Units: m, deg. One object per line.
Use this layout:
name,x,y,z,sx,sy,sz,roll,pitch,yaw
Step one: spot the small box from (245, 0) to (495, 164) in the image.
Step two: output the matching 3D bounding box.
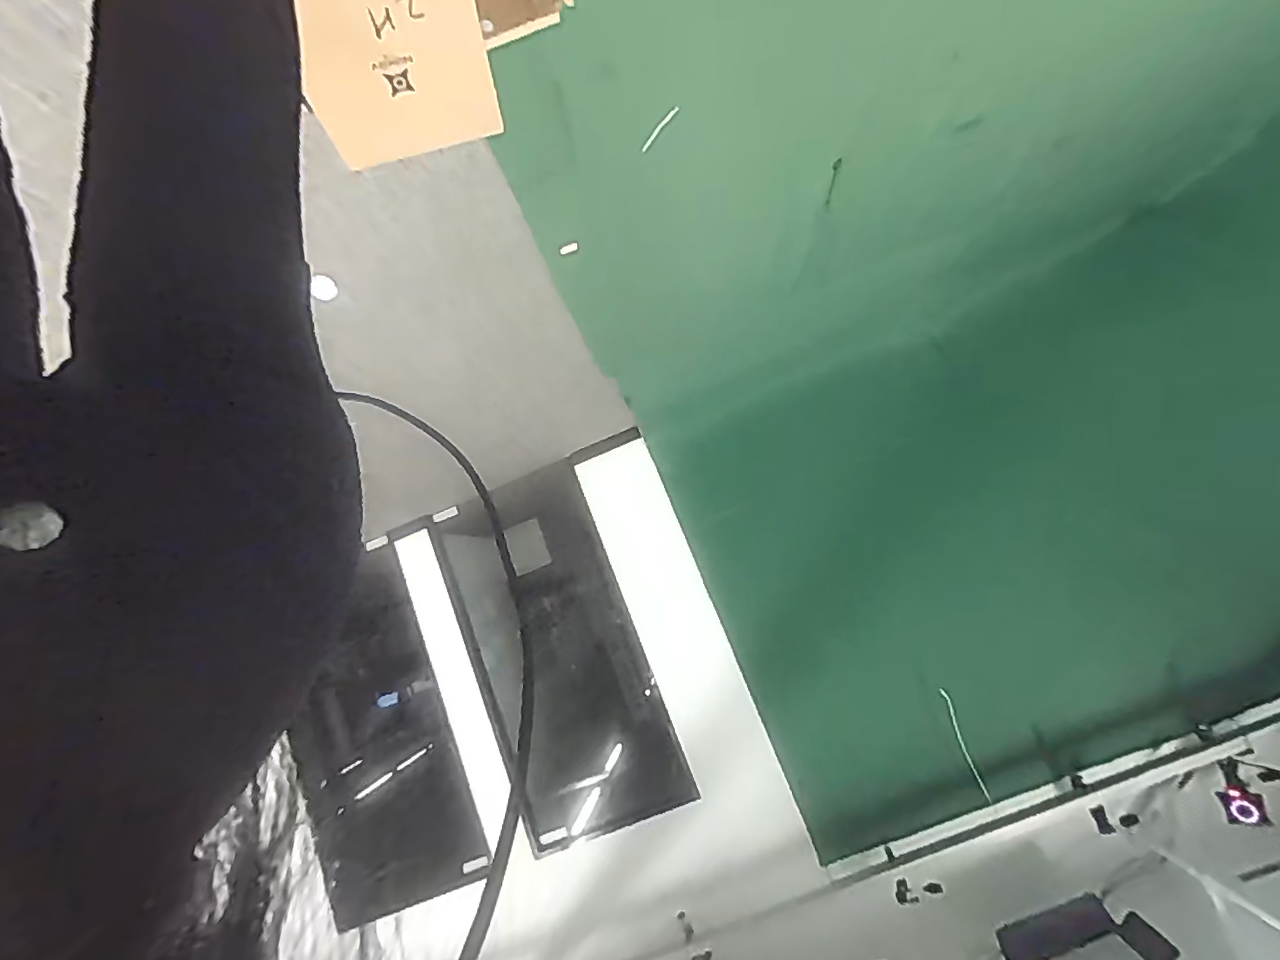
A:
small box,-0.249,-0.439,0.491,0.168,0.176,0.179,-20,170,-8
